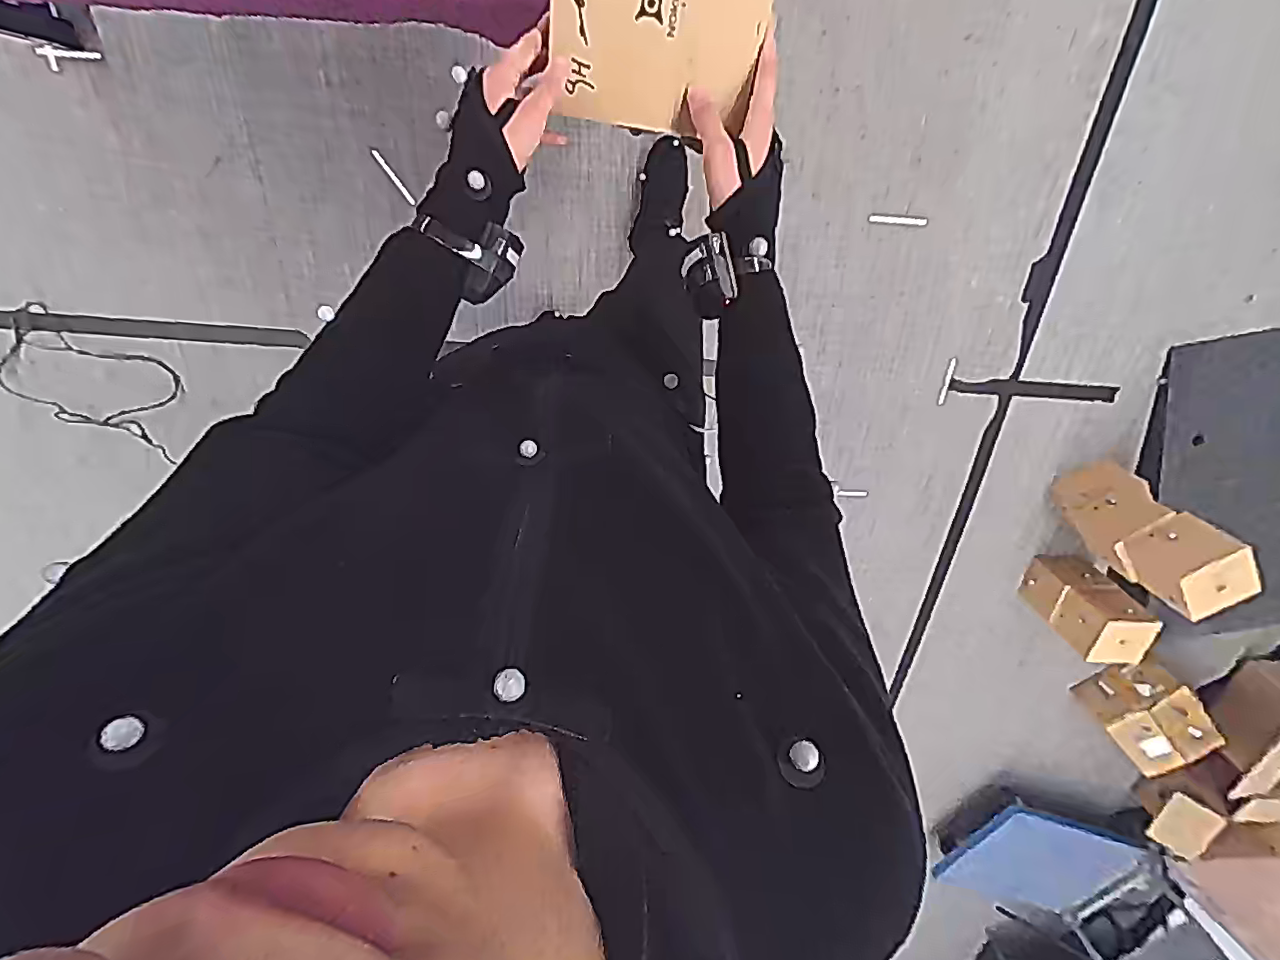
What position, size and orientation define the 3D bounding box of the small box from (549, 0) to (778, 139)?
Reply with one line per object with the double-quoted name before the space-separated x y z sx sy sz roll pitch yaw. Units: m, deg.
"small box" 0.015 -0.422 0.478 0.179 0.176 0.168 4 128 -8
